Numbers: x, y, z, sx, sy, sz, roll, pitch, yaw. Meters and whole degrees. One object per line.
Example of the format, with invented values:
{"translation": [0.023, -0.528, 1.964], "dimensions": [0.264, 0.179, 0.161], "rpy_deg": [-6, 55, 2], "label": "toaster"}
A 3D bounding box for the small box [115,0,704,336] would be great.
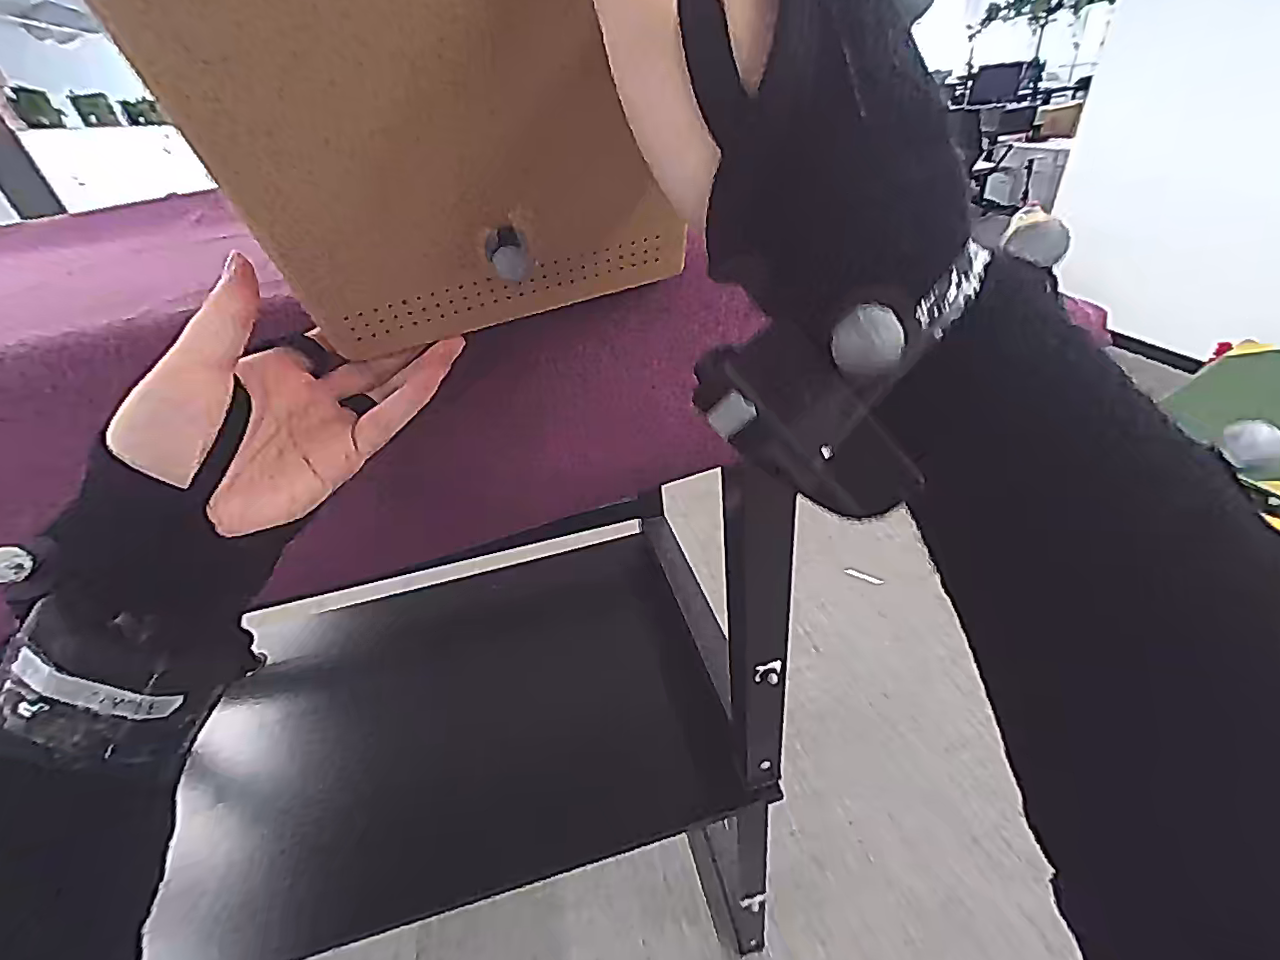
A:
{"translation": [-0.083, -0.192, 0.231], "dimensions": [0.179, 0.176, 0.168], "rpy_deg": [-18, 63, -10], "label": "small box"}
